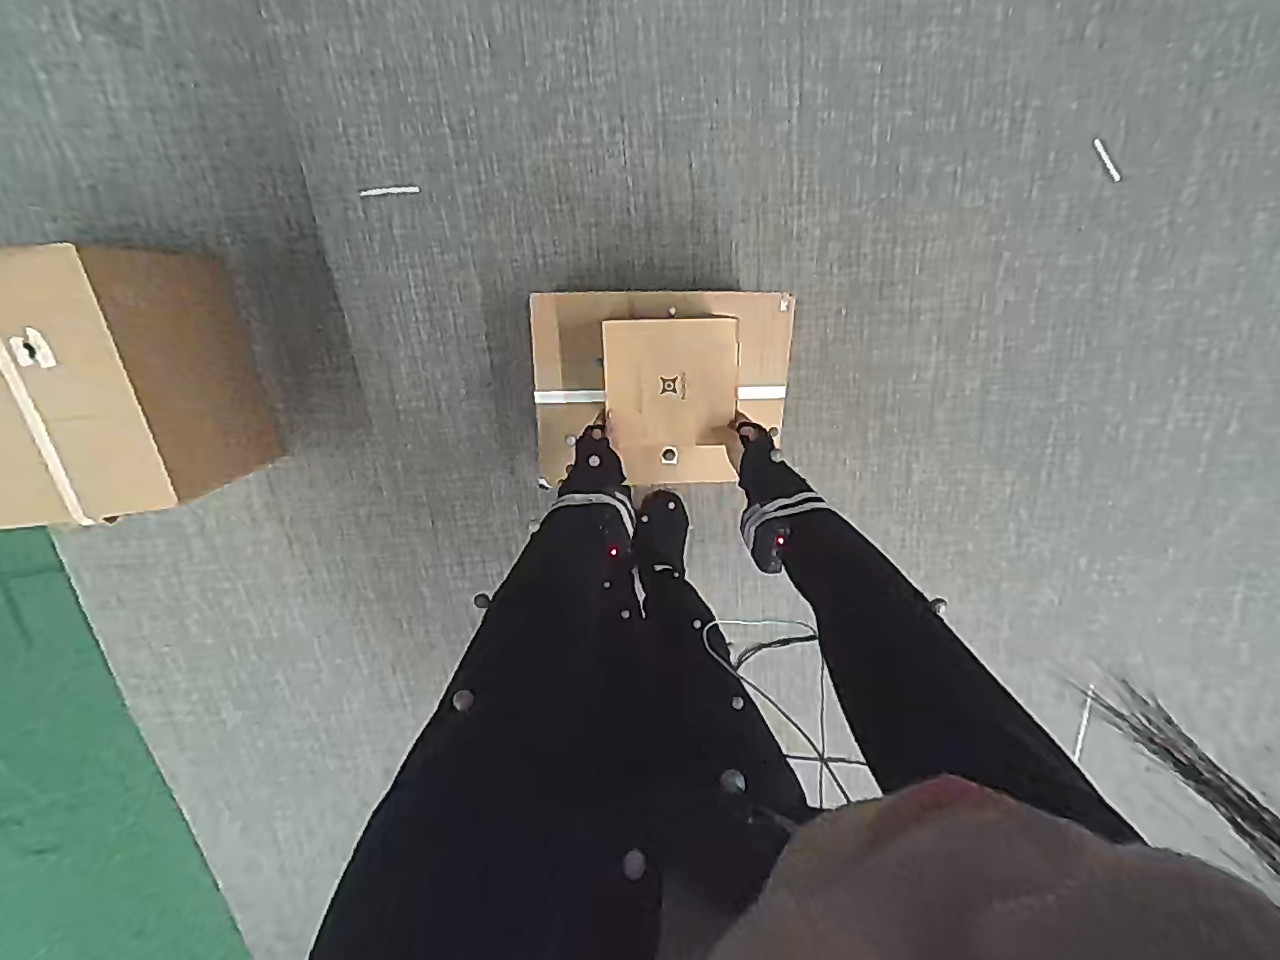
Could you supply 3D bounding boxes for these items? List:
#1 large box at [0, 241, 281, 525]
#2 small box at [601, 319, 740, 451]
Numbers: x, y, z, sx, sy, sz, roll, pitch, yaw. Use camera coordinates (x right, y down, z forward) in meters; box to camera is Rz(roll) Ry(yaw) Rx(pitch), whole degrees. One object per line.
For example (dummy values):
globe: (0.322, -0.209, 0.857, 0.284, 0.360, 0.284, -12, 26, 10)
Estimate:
large box: (-0.929, -0.172, 0.956, 0.320, 0.320, 0.408, -7, 107, -1)
small box: (0.033, -0.142, 0.773, 0.179, 0.176, 0.168, 0, 108, -3)
